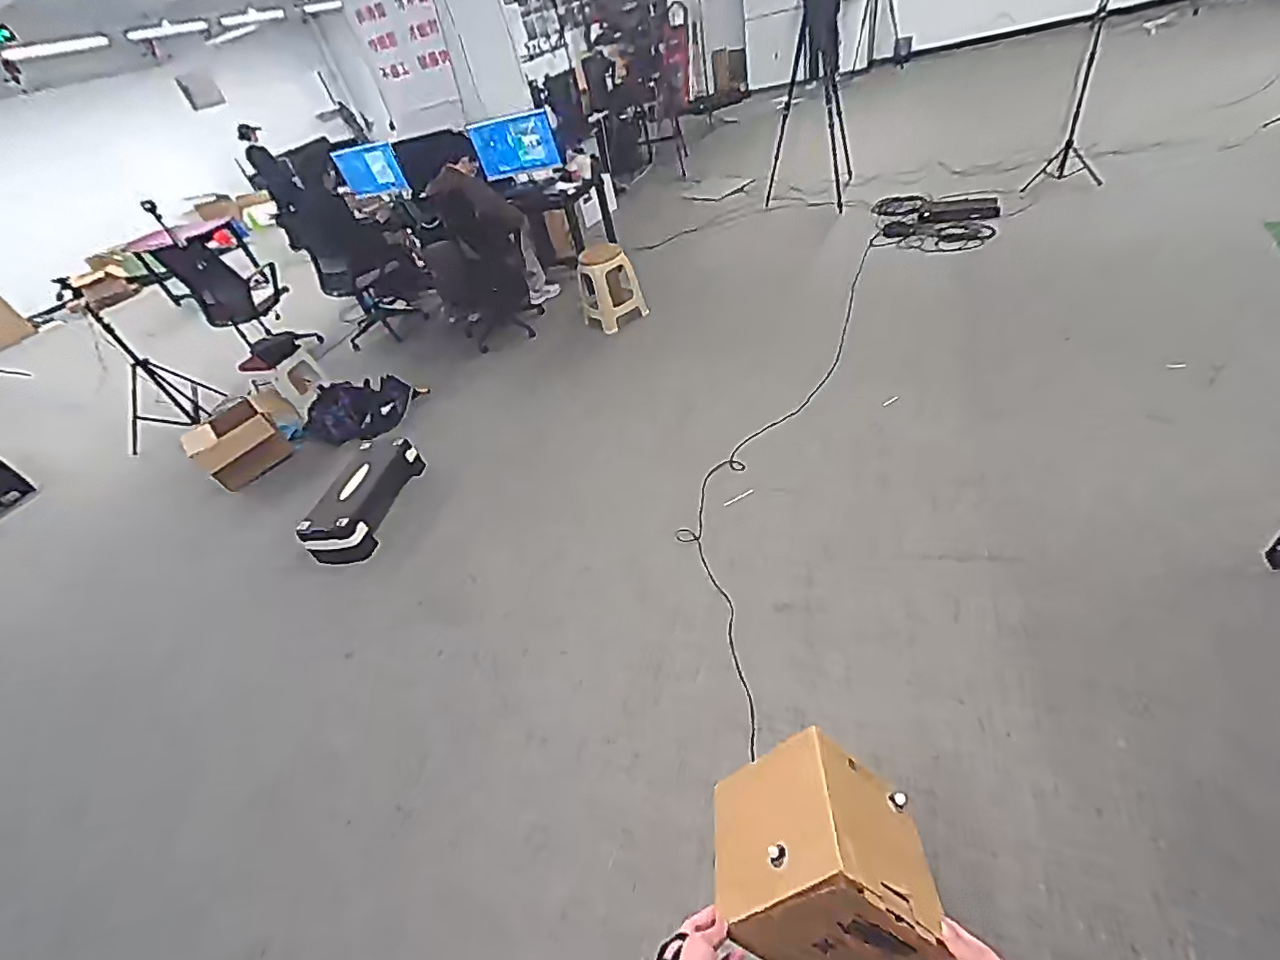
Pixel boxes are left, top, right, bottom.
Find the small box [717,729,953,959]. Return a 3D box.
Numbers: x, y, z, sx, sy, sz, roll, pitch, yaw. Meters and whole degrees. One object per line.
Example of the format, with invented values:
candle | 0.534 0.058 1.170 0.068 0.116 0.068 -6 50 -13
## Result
small box | 0.200 0.422 0.614 0.179 0.168 0.176 -44 13 24
